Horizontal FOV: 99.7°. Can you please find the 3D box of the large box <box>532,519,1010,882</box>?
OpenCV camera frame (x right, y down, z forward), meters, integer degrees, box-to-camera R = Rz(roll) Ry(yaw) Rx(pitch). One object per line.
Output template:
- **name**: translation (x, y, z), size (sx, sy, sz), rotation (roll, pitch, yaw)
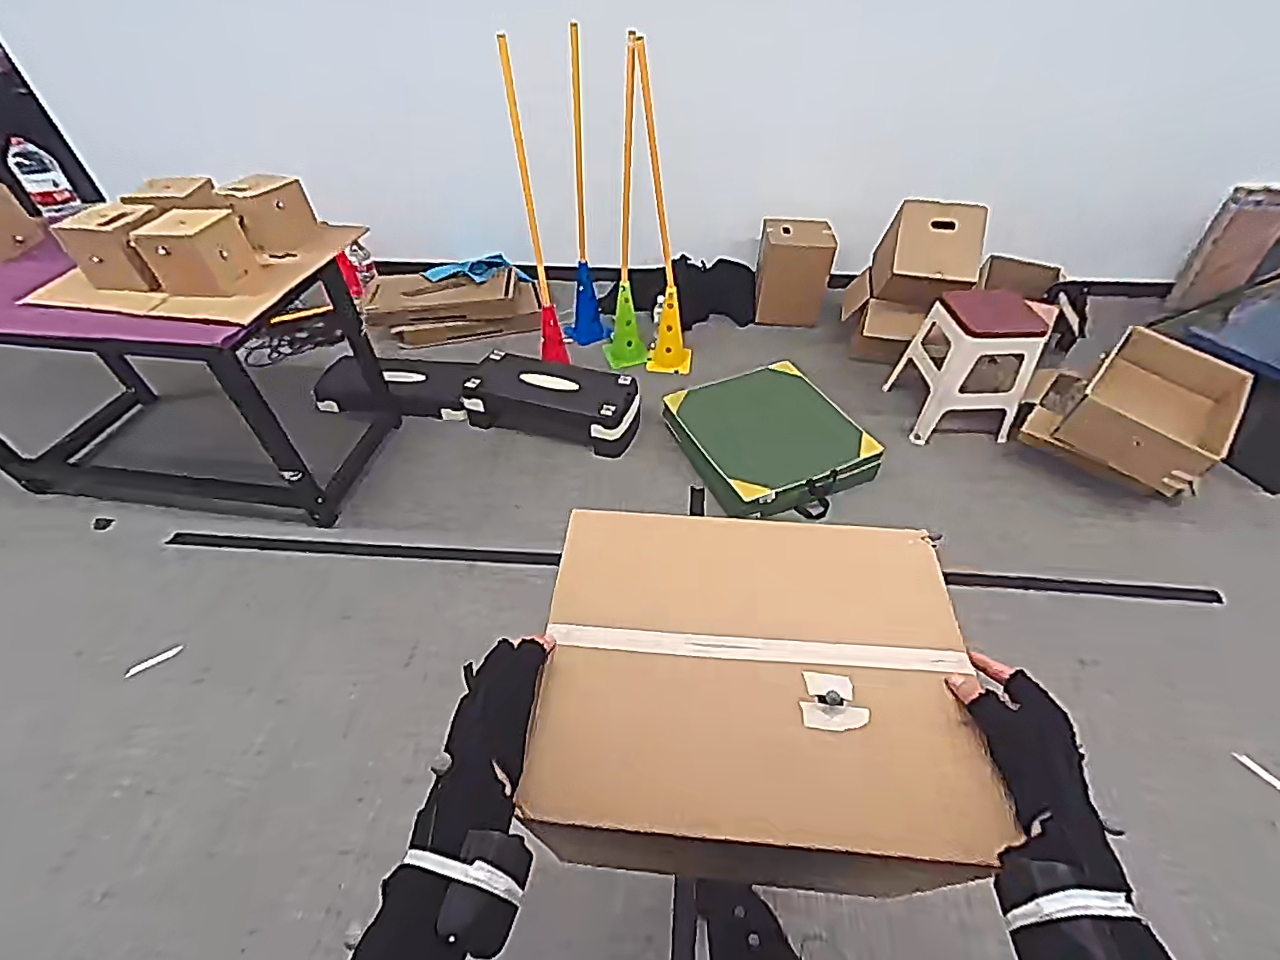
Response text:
- **large box**: translation (0.115, 0.268, 0.654), size (0.408, 0.320, 0.320), rotation (3, 50, 4)
